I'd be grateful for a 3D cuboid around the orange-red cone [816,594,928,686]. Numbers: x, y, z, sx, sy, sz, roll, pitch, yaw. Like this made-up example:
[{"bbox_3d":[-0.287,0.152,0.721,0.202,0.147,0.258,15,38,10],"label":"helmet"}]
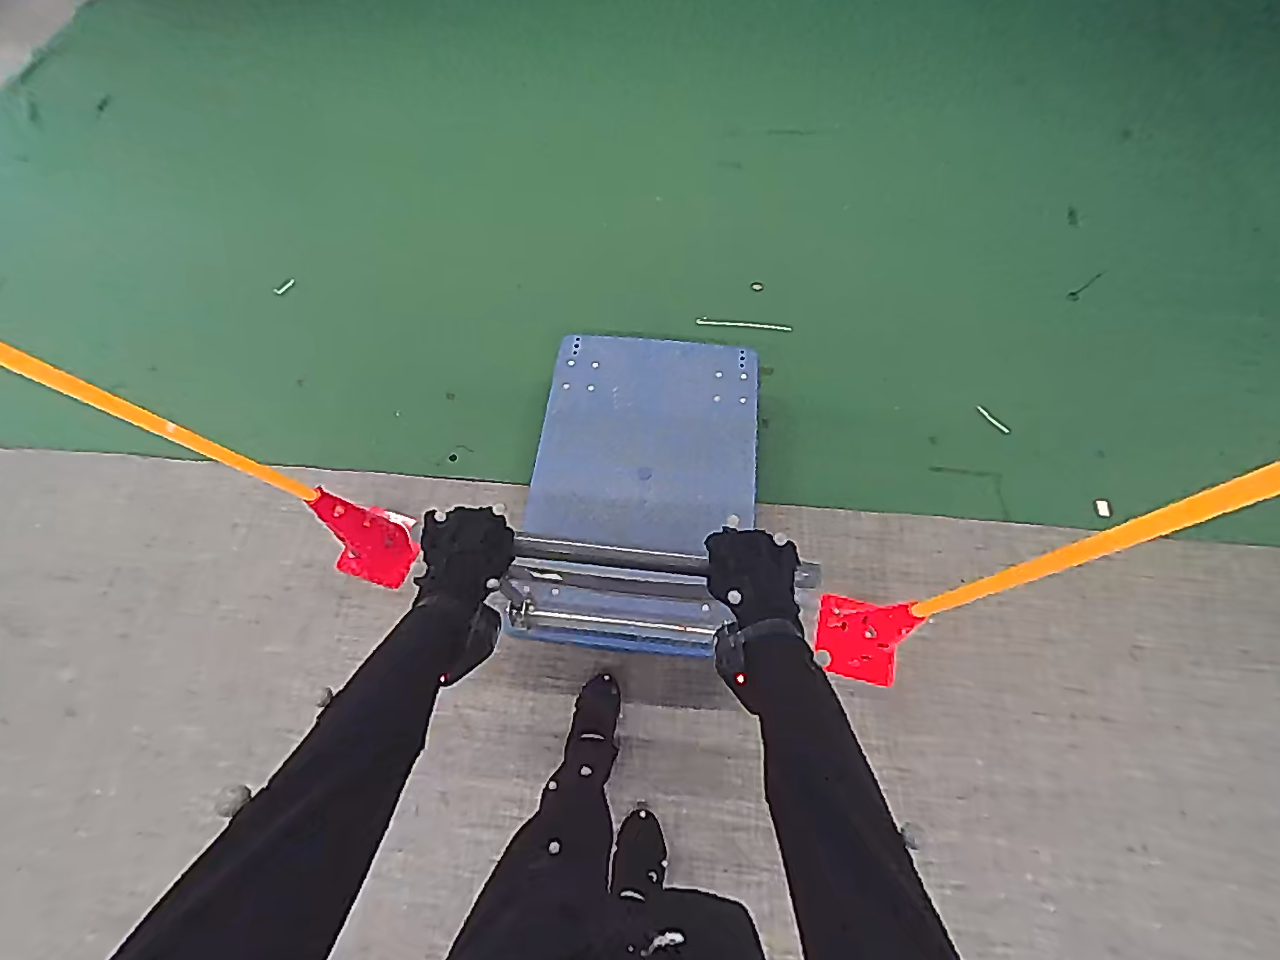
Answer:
[{"bbox_3d":[0.554,0.332,1.224,0.198,0.360,0.199,14,66,8],"label":"orange-red cone"}]
